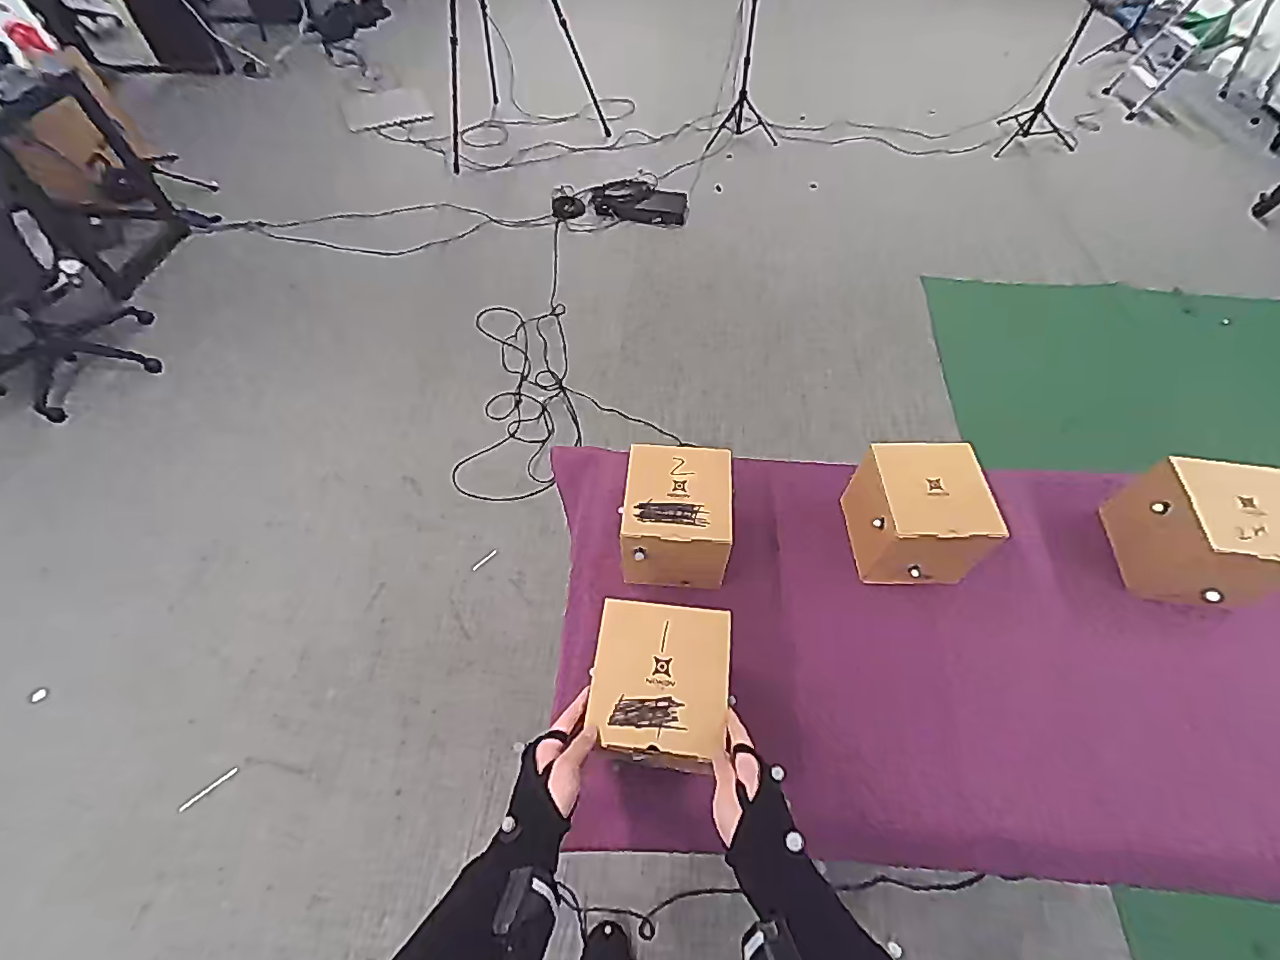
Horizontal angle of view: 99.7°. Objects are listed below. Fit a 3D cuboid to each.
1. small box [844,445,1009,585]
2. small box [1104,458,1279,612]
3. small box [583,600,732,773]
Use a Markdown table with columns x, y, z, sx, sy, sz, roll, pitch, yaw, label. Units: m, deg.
| x | y | z | sx | sy | sz | roll | pitch | yaw | label |
| --- | --- | --- | --- | --- | --- | --- | --- | --- | --- |
| 0.459 | 0.060 | 0.904 | 0.168 | 0.176 | 0.179 | 0 | 56 | 0 | small box |
| 0.909 | 0.091 | 0.876 | 0.168 | 0.176 | 0.179 | 8 | 56 | 7 | small box |
| 0.030 | 0.280 | 0.719 | 0.168 | 0.176 | 0.179 | 5 | 57 | 5 | small box |
